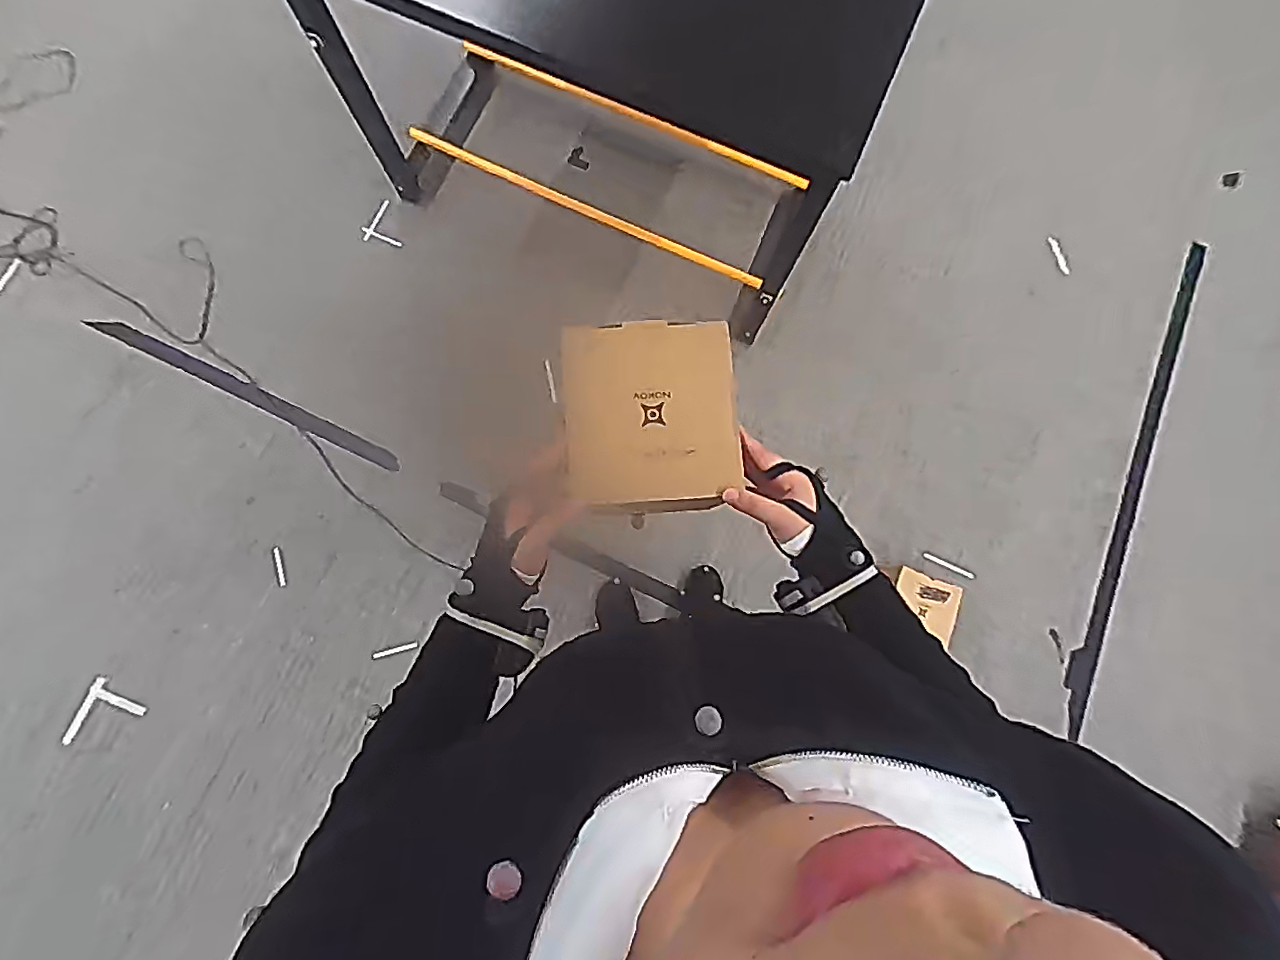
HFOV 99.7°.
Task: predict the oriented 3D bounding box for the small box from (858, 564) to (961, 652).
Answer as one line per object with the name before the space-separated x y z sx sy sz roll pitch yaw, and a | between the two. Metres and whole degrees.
small box | 0.708 0.334 1.440 0.168 0.176 0.179 21 80 2

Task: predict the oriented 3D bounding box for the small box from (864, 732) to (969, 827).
small box | 0.690 0.769 1.364 0.168 0.176 0.179 18 80 1

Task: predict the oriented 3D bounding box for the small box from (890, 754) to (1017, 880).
small box | 0.687 0.736 1.203 0.179 0.176 0.168 17 80 2

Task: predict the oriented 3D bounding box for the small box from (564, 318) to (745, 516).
small box | 0.006 -0.058 0.592 0.168 0.176 0.179 -4 82 -5
